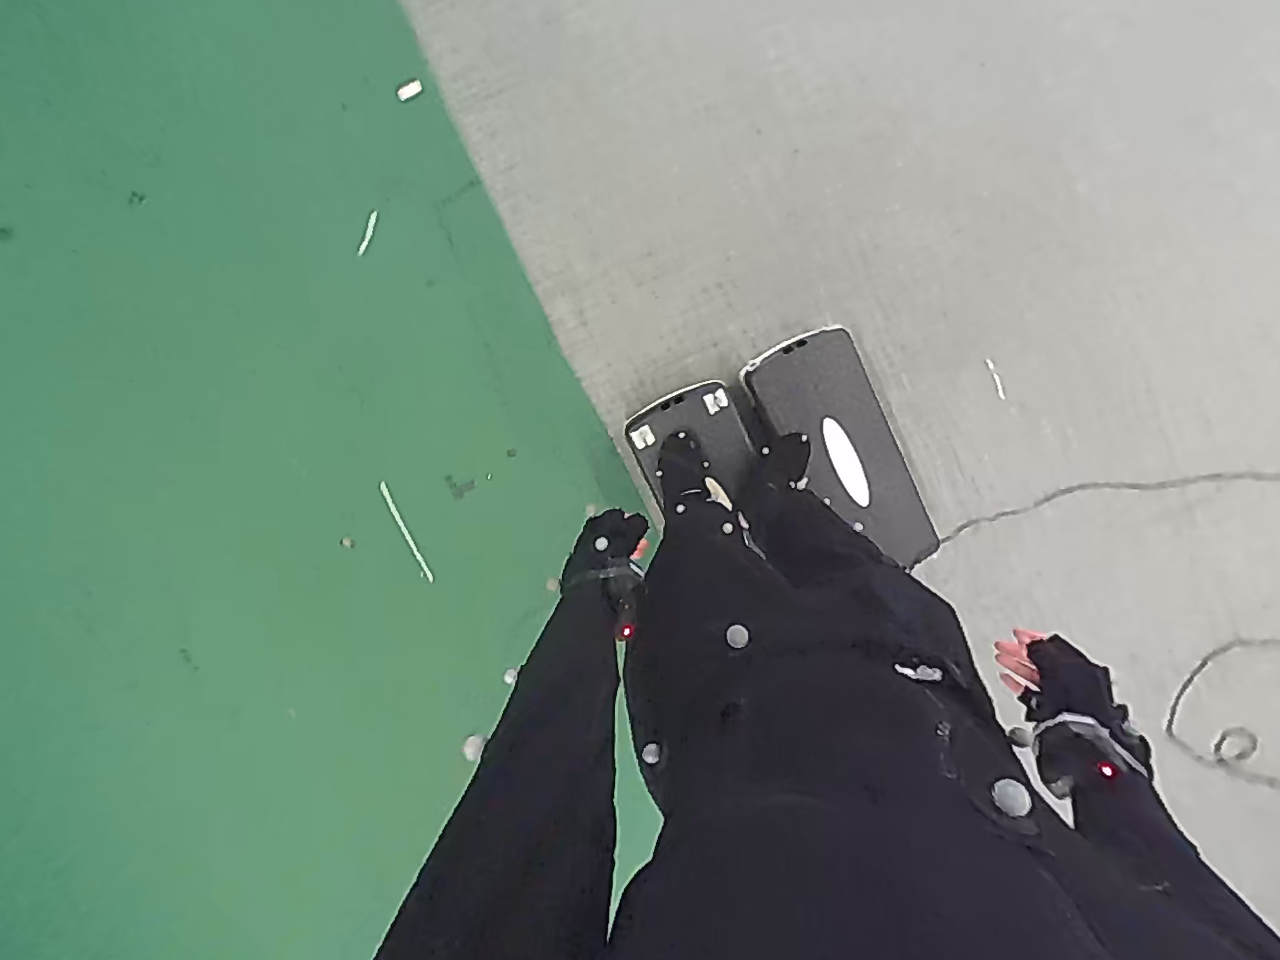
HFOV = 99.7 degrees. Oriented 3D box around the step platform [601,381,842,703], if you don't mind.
[{"bbox_3d":[0.174,0.131,1.211,0.286,0.204,0.684,-25,97,5],"label":"step platform"}]
